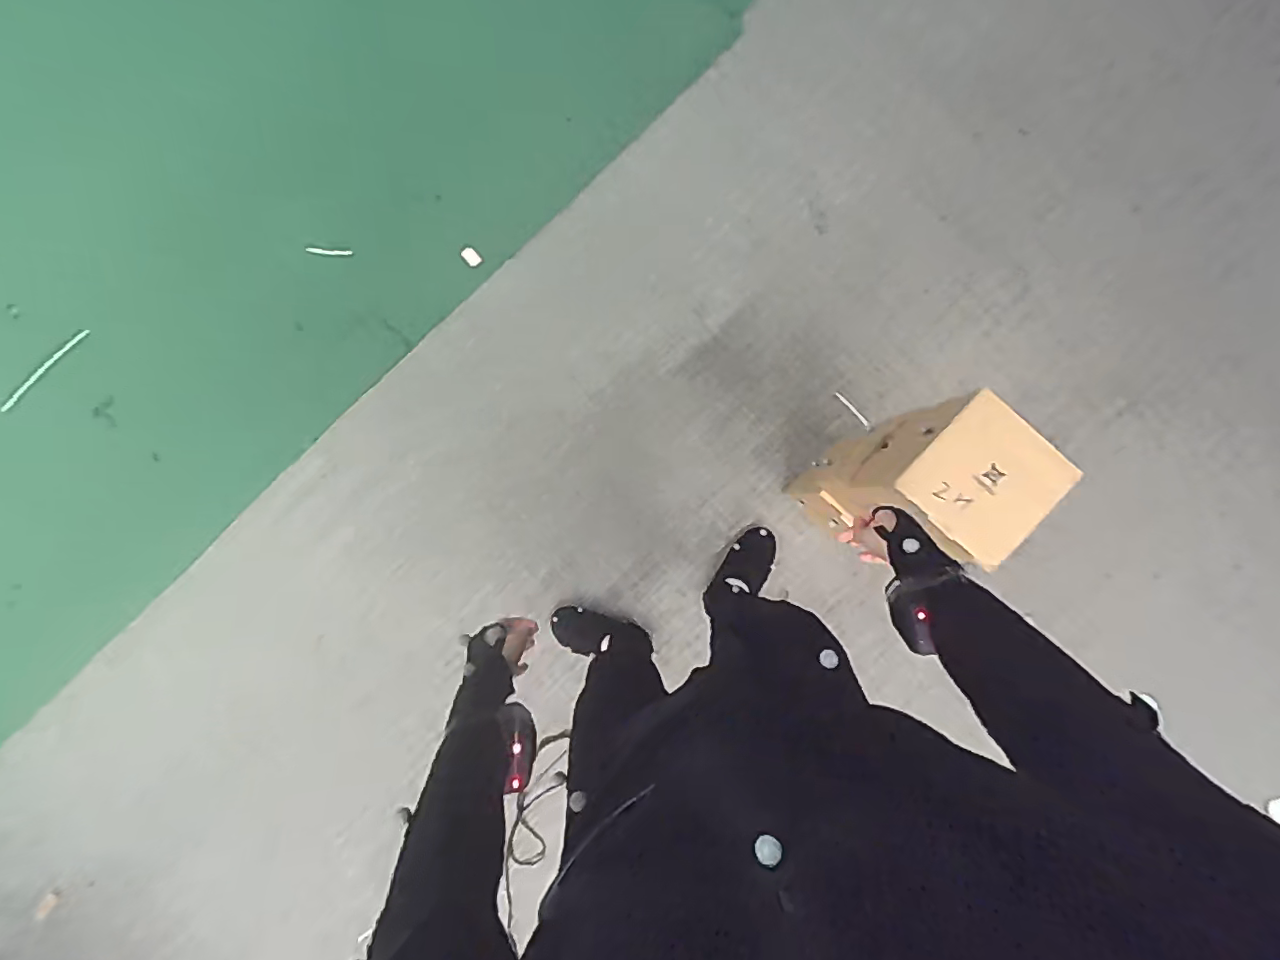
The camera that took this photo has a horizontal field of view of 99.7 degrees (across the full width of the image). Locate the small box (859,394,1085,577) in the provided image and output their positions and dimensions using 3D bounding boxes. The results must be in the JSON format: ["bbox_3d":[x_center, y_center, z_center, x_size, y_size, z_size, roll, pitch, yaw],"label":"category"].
[{"bbox_3d":[0.444,0.009,0.759,0.168,0.176,0.179,44,90,4],"label":"small box"}]

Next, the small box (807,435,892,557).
[{"bbox_3d":[0.459,0.032,1.087,0.168,0.176,0.179,45,91,3],"label":"small box"}]

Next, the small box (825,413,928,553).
[{"bbox_3d":[0.450,0.014,0.923,0.168,0.176,0.179,-45,87,0],"label":"small box"}]
